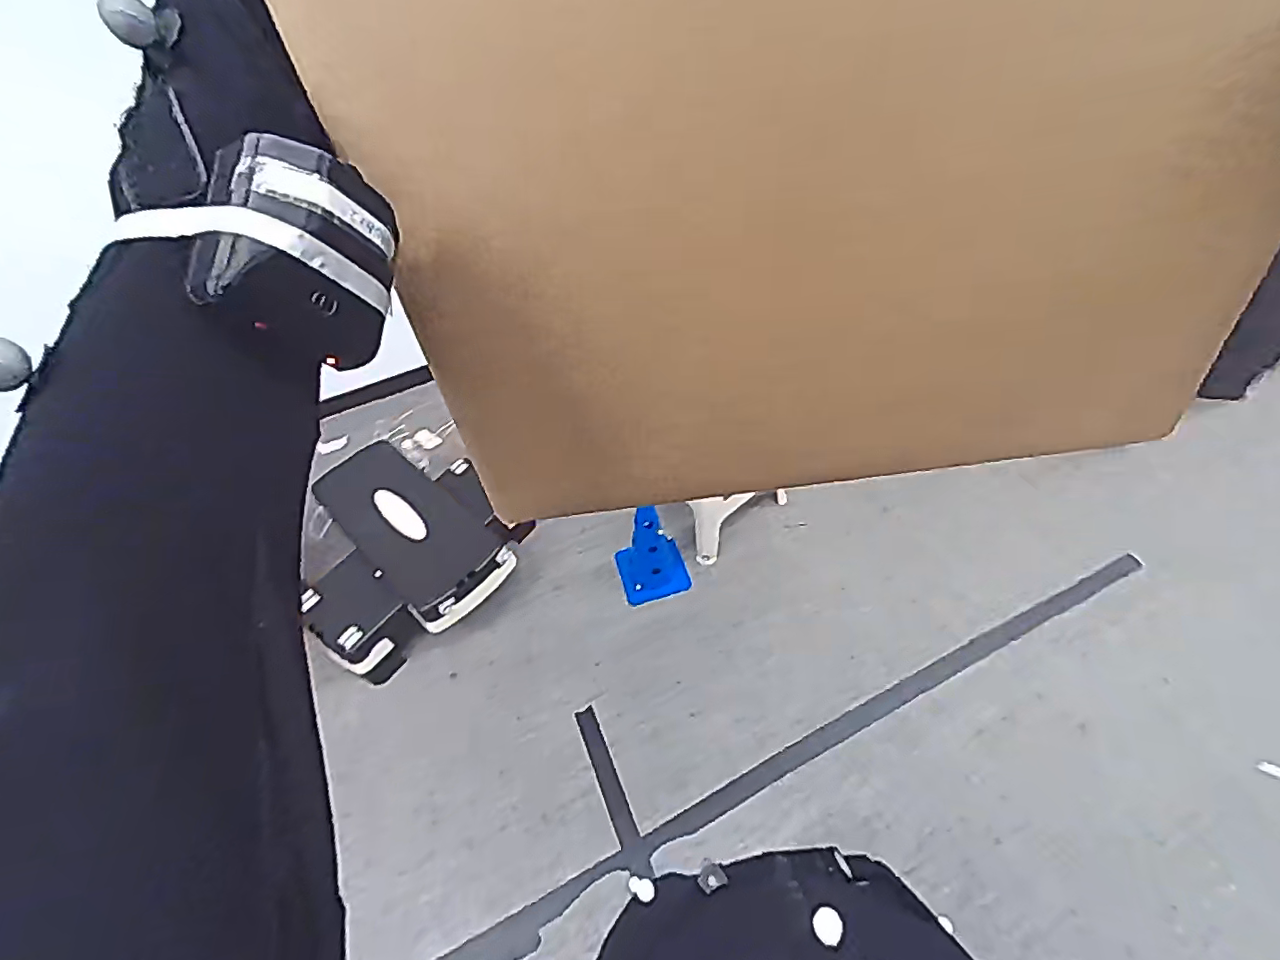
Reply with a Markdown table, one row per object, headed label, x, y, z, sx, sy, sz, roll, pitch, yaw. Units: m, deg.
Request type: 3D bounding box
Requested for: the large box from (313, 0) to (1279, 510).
| label | x | y | z | sx | sy | sz | roll | pitch | yaw |
| --- | --- | --- | --- | --- | --- | --- | --- | --- | --- |
| large box | 0.083 | -0.210 | 0.363 | 0.408 | 0.320 | 0.320 | -7 | 39 | 4 |
